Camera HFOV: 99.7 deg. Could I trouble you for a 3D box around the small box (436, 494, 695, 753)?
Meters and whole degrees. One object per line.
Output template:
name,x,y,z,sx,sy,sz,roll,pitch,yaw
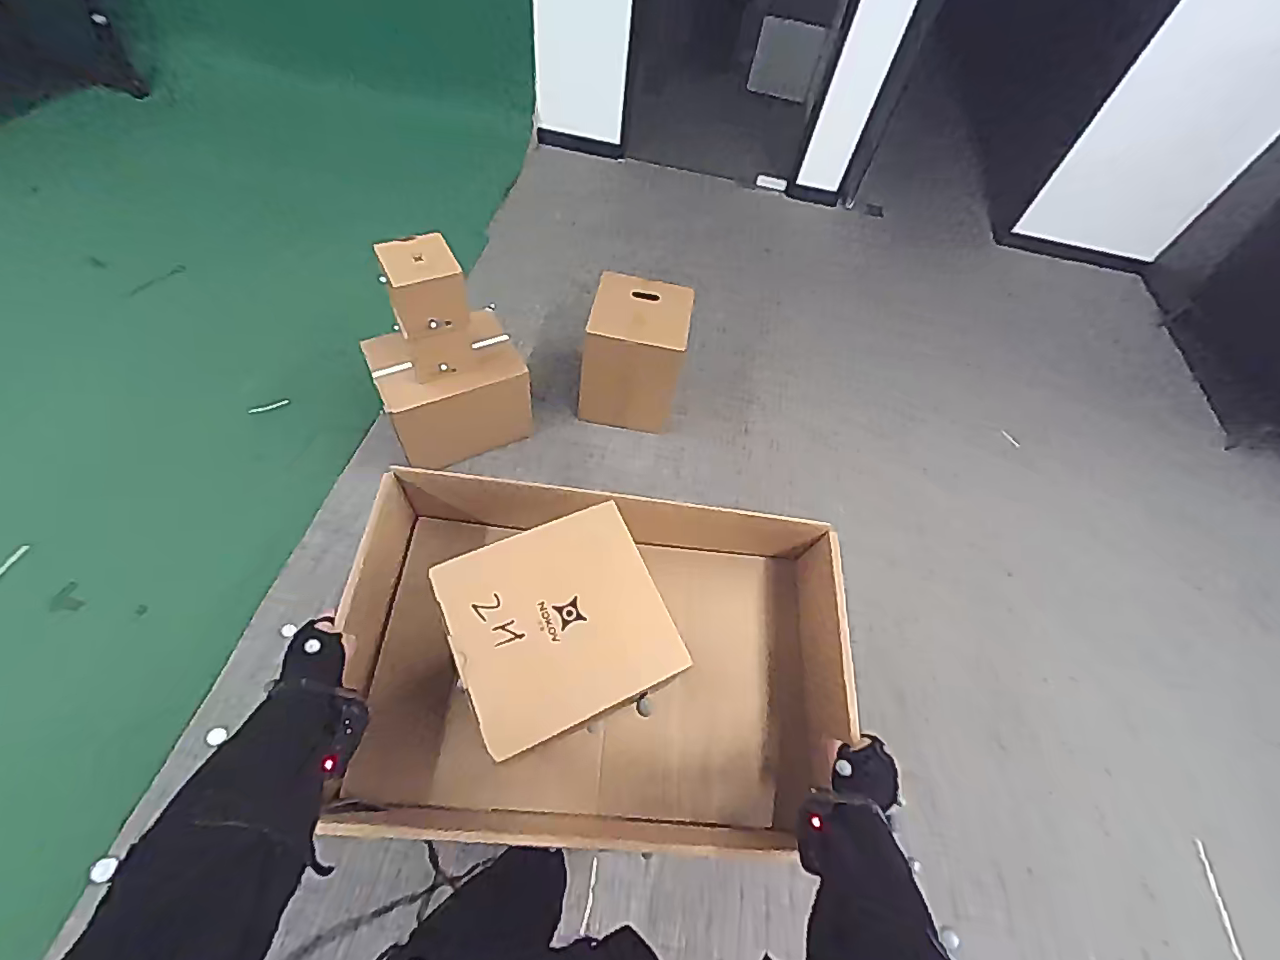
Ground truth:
small box,-0.075,0.143,0.523,0.179,0.176,0.168,-20,67,-18

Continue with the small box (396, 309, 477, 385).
small box,-0.571,-0.398,1.518,0.168,0.176,0.179,-19,61,-20

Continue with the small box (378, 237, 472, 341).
small box,-0.545,-0.486,1.383,0.168,0.176,0.179,-22,62,-21
